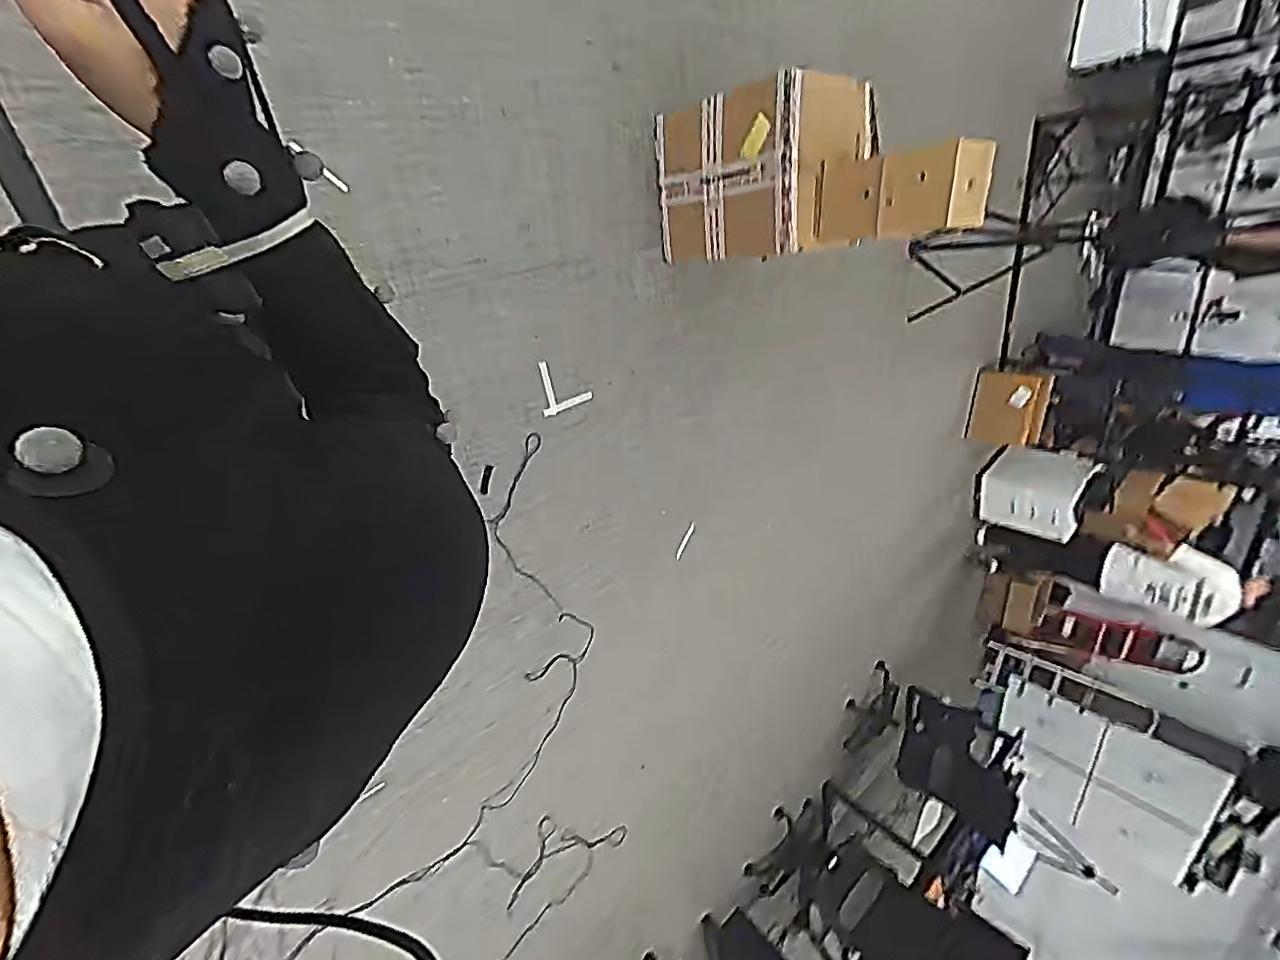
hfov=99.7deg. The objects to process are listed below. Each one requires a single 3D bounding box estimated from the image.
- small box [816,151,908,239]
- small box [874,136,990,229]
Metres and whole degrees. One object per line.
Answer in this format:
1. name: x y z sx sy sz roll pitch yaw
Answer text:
1. small box: 0.565 -0.708 1.360 0.168 0.176 0.179 -18 118 -33
2. small box: 0.658 -0.670 1.232 0.179 0.176 0.168 -21 119 -33
